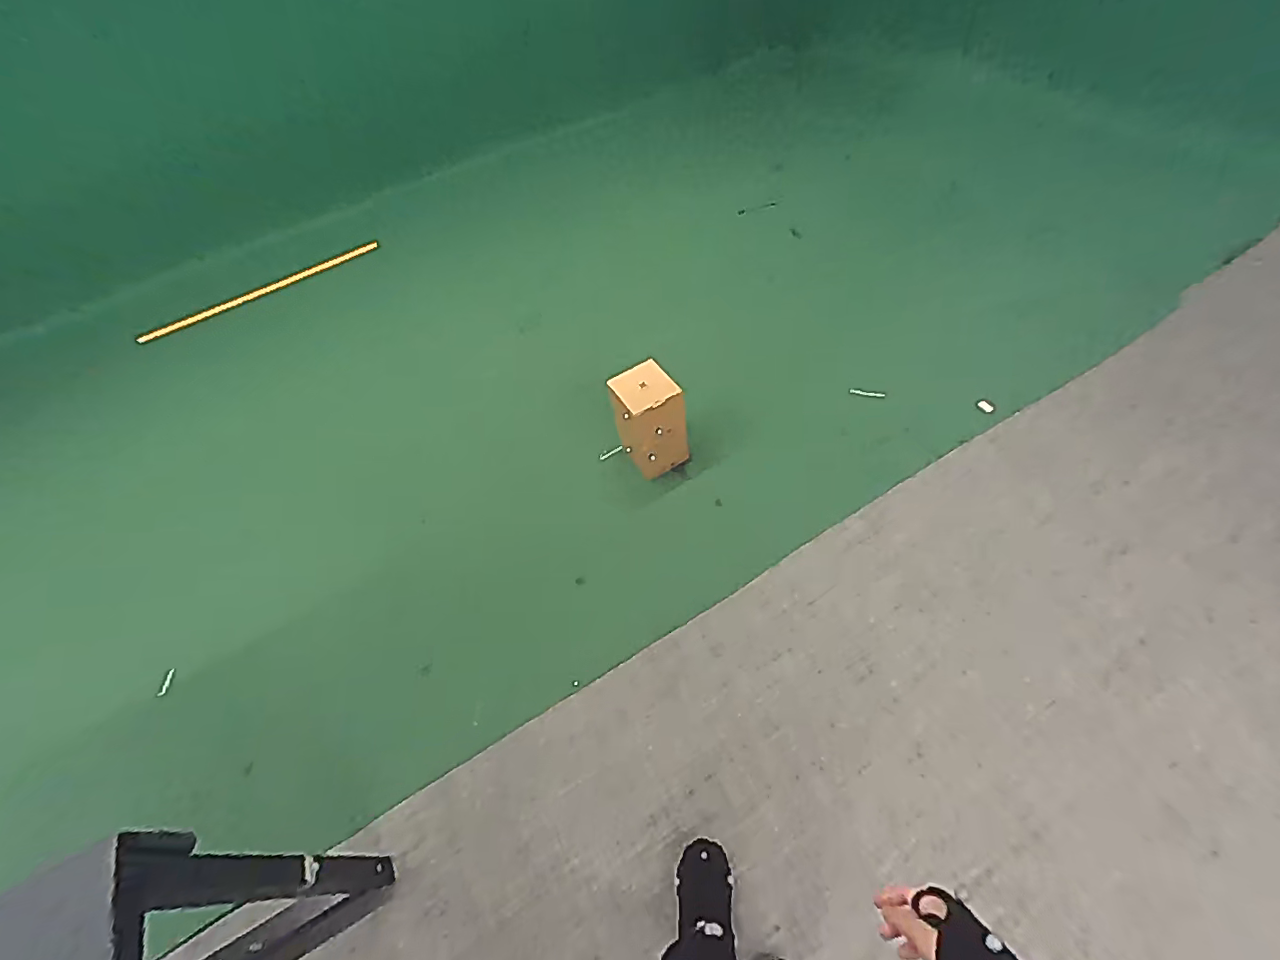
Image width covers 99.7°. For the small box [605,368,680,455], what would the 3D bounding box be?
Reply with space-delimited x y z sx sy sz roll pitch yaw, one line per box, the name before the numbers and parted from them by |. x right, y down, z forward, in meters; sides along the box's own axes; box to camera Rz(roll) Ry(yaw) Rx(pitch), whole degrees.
small box | 0.011 -0.209 1.669 0.168 0.176 0.179 -28 55 -14
